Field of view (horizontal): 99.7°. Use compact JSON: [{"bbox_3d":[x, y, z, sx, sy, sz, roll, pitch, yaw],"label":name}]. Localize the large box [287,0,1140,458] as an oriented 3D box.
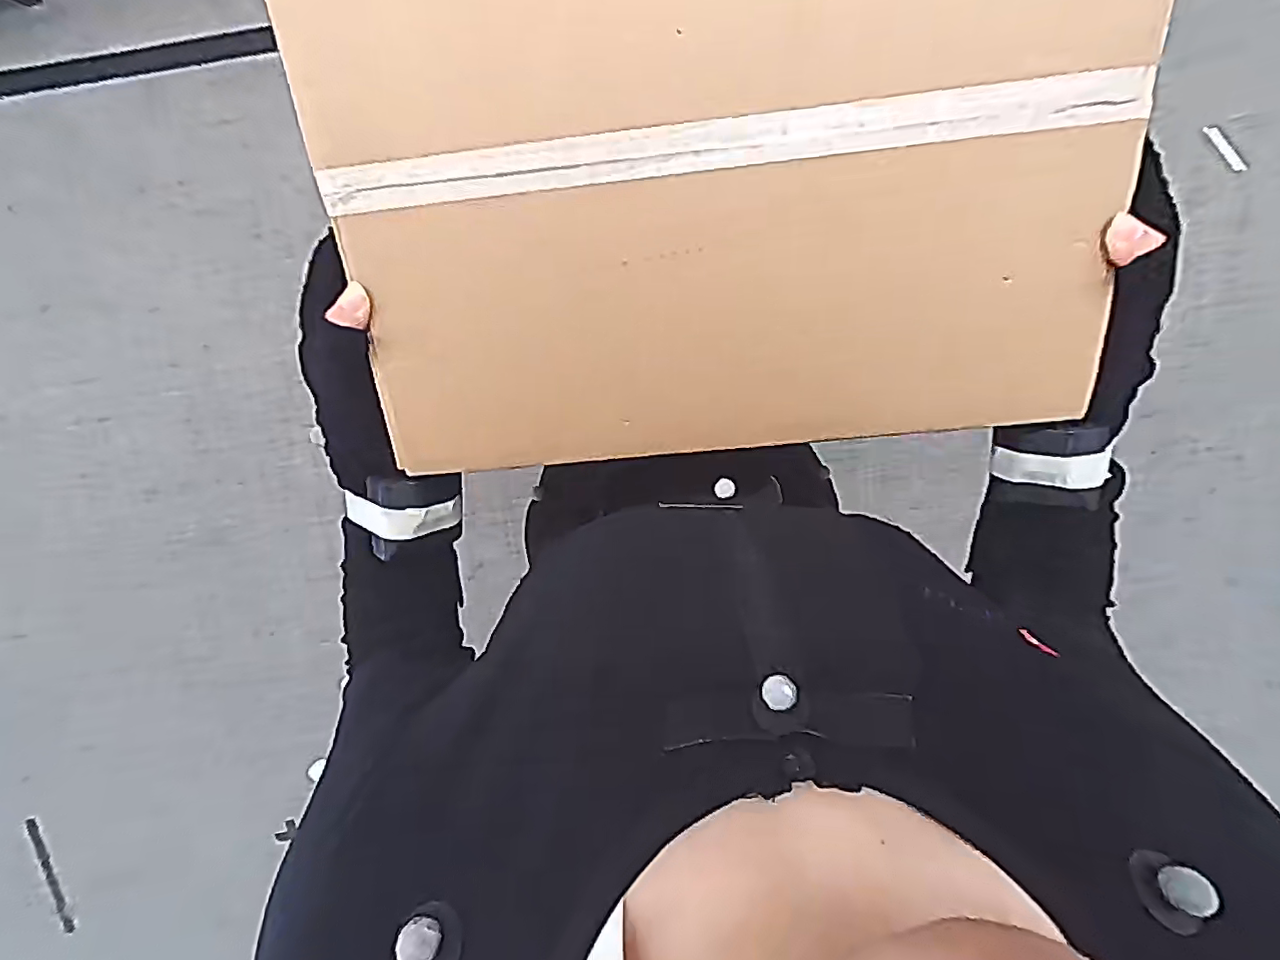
[{"bbox_3d":[0.038,-0.228,0.414,0.408,0.320,0.320,-5,113,3],"label":"large box"}]
